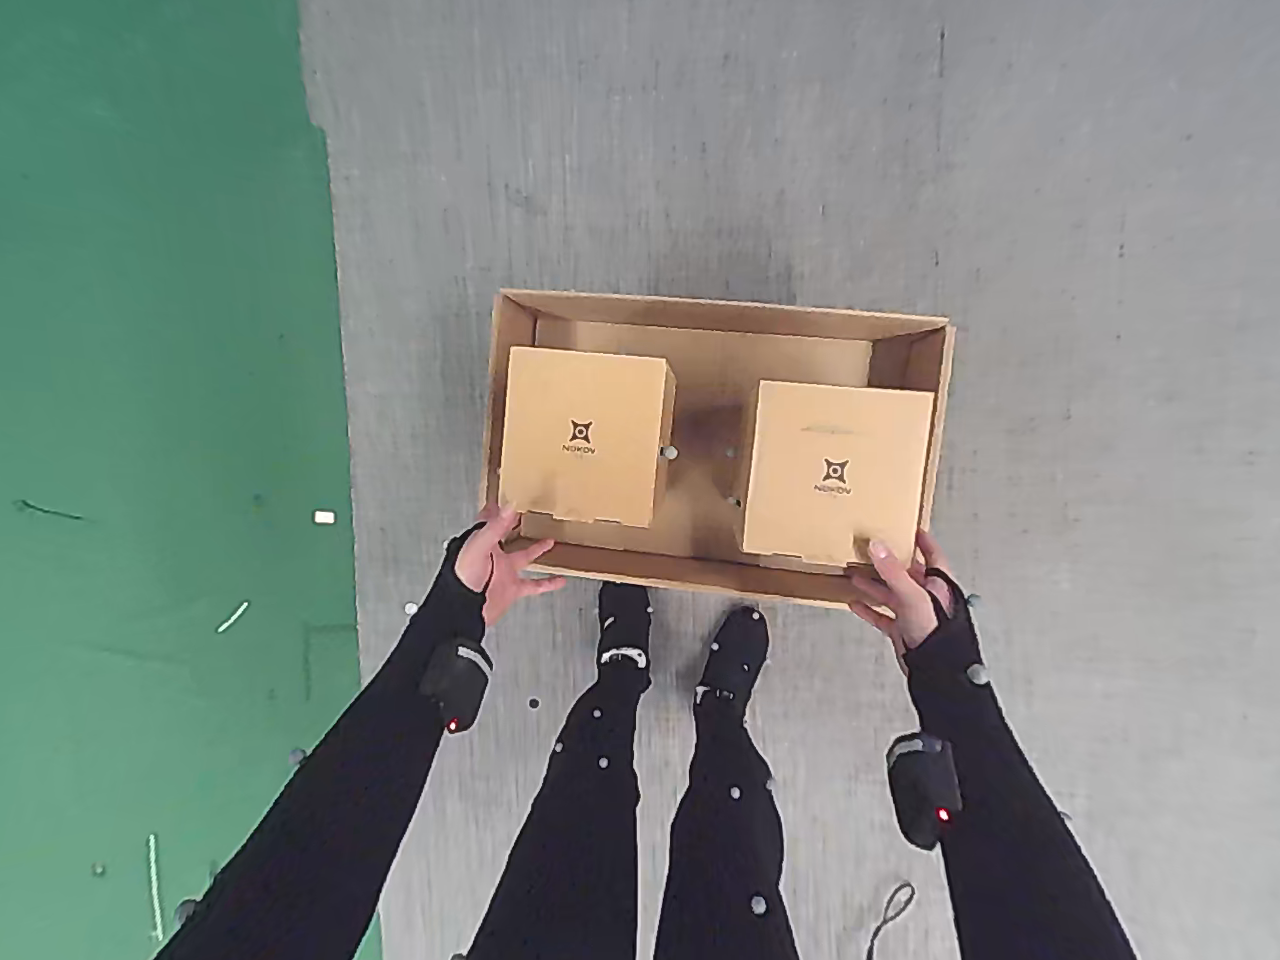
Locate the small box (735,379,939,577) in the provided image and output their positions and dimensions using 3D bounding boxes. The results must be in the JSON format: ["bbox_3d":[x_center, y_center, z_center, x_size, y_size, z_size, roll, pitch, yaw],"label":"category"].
[{"bbox_3d":[0.199,-0.007,0.597,0.168,0.176,0.179,6,94,6],"label":"small box"}]

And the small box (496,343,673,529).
[{"bbox_3d":[-0.052,-0.050,0.629,0.168,0.176,0.179,6,95,6],"label":"small box"}]
